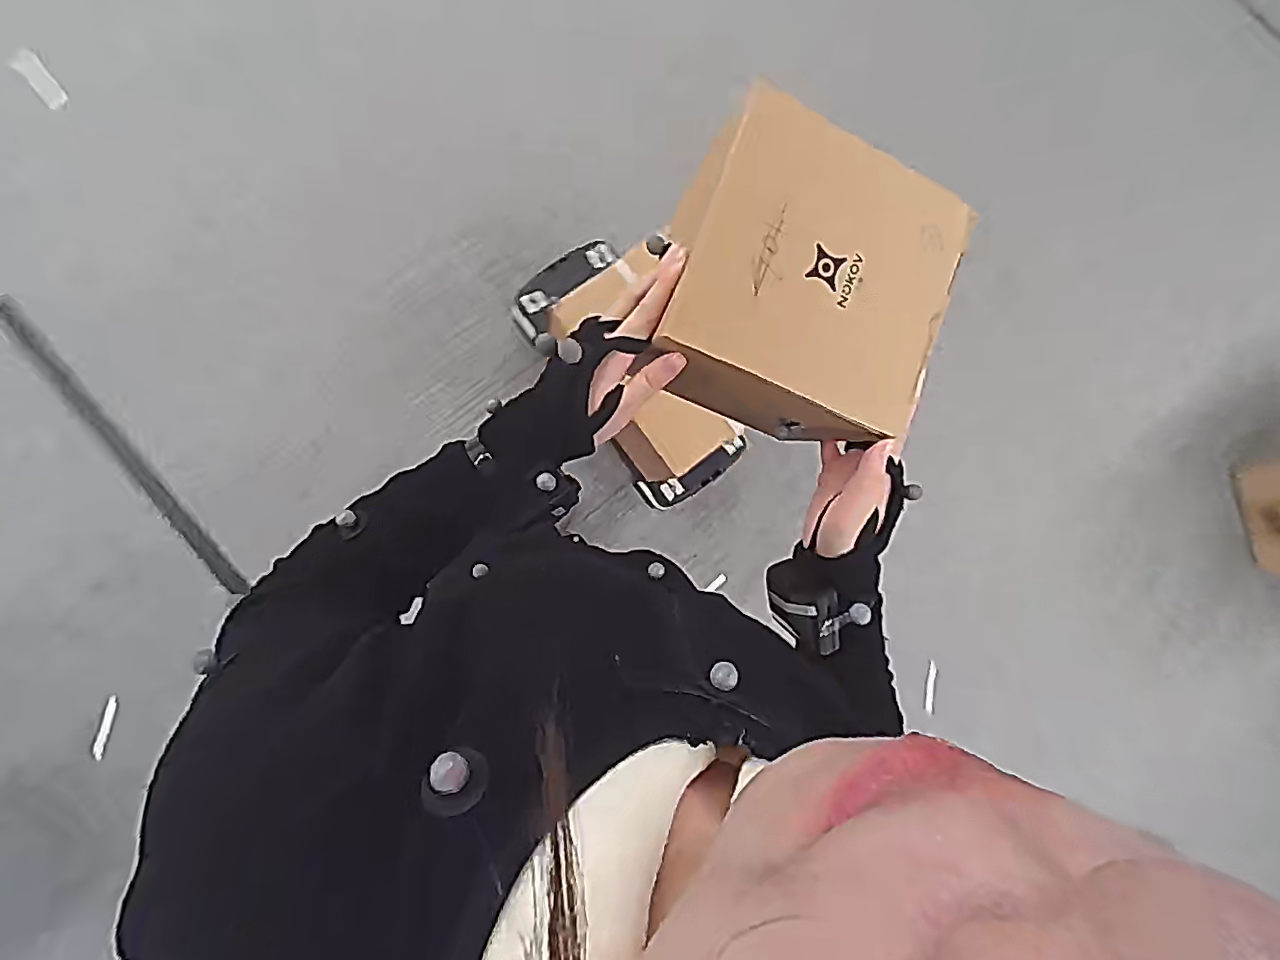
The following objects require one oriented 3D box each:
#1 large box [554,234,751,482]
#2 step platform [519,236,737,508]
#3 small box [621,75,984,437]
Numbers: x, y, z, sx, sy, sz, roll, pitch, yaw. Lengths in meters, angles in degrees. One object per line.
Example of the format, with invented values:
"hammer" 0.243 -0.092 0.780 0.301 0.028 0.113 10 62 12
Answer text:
"large box" 0.055 -0.243 1.185 0.320 0.320 0.408 -37 94 -9
"step platform" -0.031 -0.269 1.412 0.286 0.204 0.684 -31 93 -9
"small box" 0.102 -0.139 0.410 0.179 0.176 0.168 20 89 -12
